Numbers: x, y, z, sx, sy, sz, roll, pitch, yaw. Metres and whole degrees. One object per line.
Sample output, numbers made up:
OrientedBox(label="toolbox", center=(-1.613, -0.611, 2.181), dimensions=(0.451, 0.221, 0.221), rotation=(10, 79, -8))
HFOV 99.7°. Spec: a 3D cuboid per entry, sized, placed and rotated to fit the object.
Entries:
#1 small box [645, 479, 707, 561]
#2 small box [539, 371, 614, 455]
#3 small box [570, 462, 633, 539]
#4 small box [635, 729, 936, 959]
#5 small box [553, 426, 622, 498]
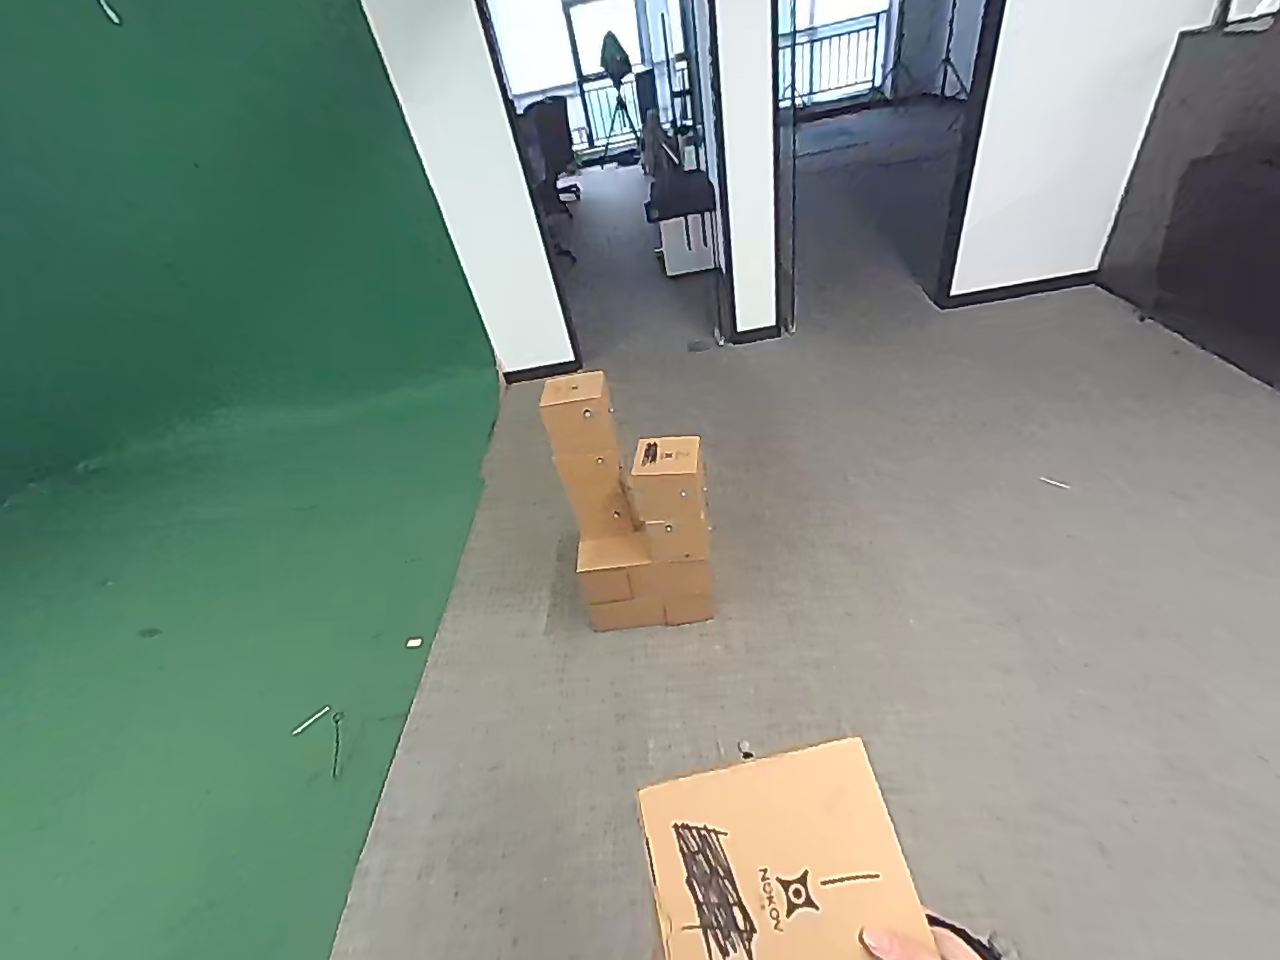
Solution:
OrientedBox(label="small box", center=(0.111, 0.121, 1.617), dimensions=(0.168, 0.176, 0.179), rotation=(-6, 38, 8))
OrientedBox(label="small box", center=(-0.176, -0.193, 1.564), dimensions=(0.179, 0.176, 0.168), rotation=(-8, 36, 6))
OrientedBox(label="small box", center=(-0.120, 0.068, 1.754), dimensions=(0.179, 0.176, 0.168), rotation=(-10, 36, 4))
OrientedBox(label="small box", center=(0.101, 0.314, 0.443), dimensions=(0.179, 0.176, 0.168), rotation=(-12, 63, -2))
OrientedBox(label="small box", center=(-0.155, -0.059, 1.659), dimensions=(0.179, 0.176, 0.168), rotation=(-8, 36, 4))
